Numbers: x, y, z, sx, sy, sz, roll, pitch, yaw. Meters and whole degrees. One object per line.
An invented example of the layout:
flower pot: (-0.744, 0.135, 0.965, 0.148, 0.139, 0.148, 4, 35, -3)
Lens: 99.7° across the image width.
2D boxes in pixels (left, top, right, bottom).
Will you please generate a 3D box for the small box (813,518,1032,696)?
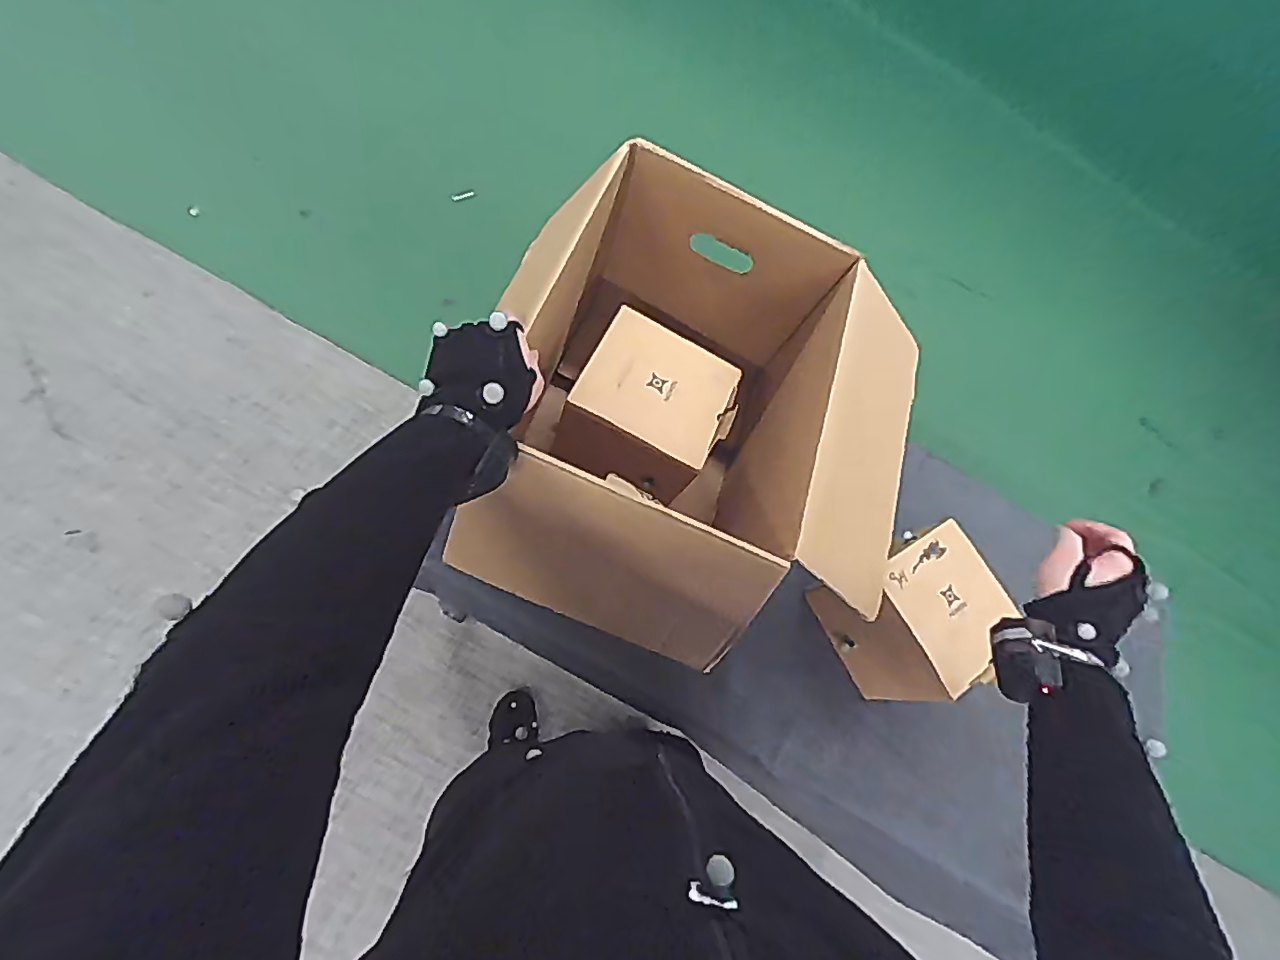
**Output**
small box: (0.383, 0.179, 0.762, 0.168, 0.176, 0.179, -23, 78, -20)
